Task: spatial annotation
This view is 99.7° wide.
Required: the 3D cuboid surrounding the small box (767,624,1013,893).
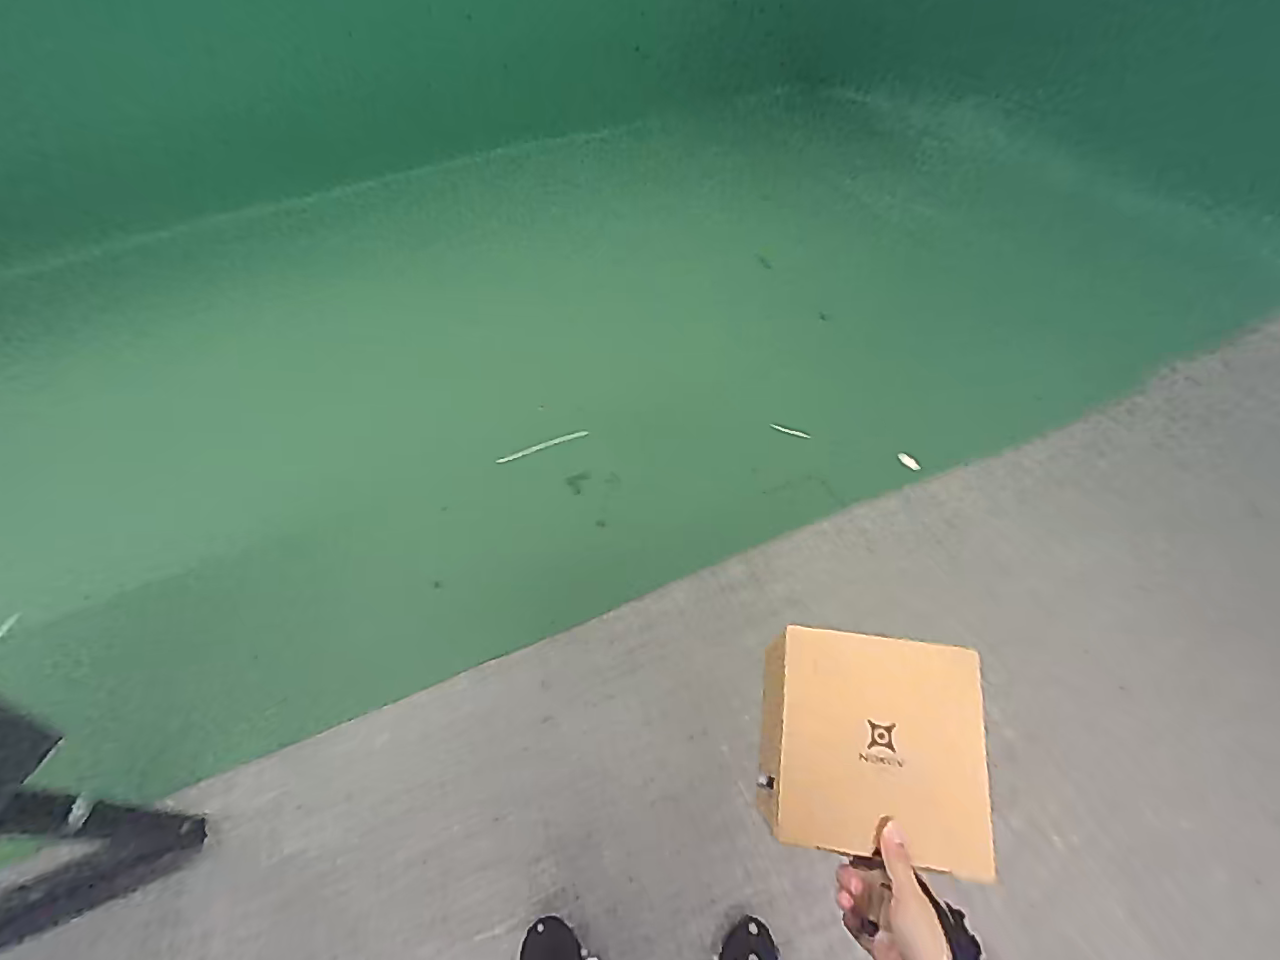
[{"bbox_3d":[0.218,0.249,0.517,0.168,0.176,0.179,6,68,9],"label":"small box"}]
